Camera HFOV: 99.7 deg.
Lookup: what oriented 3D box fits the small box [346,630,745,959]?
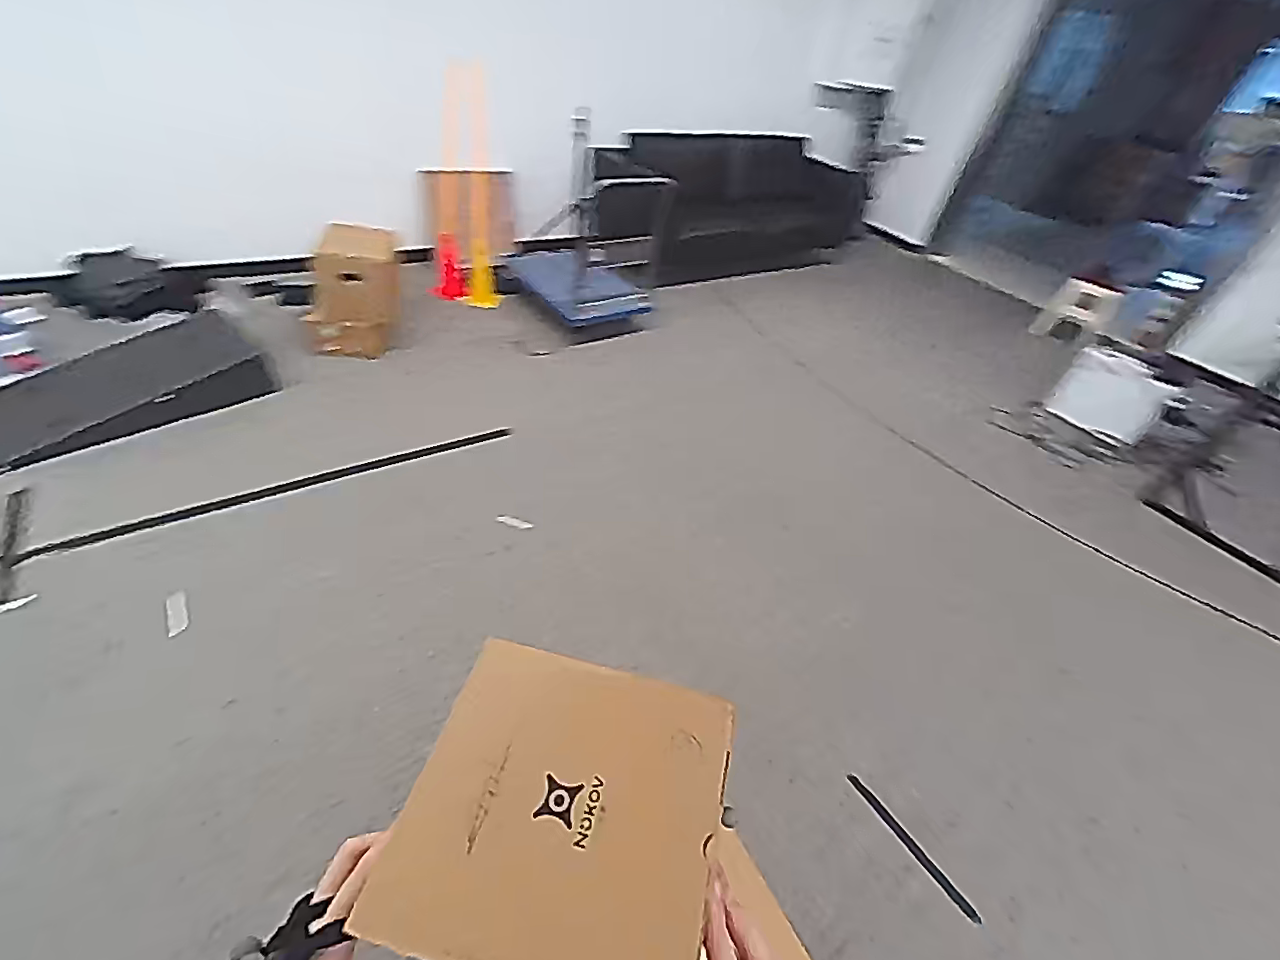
[{"bbox_3d":[-0.038,0.229,0.355,0.179,0.176,0.168,11,46,11],"label":"small box"}]
